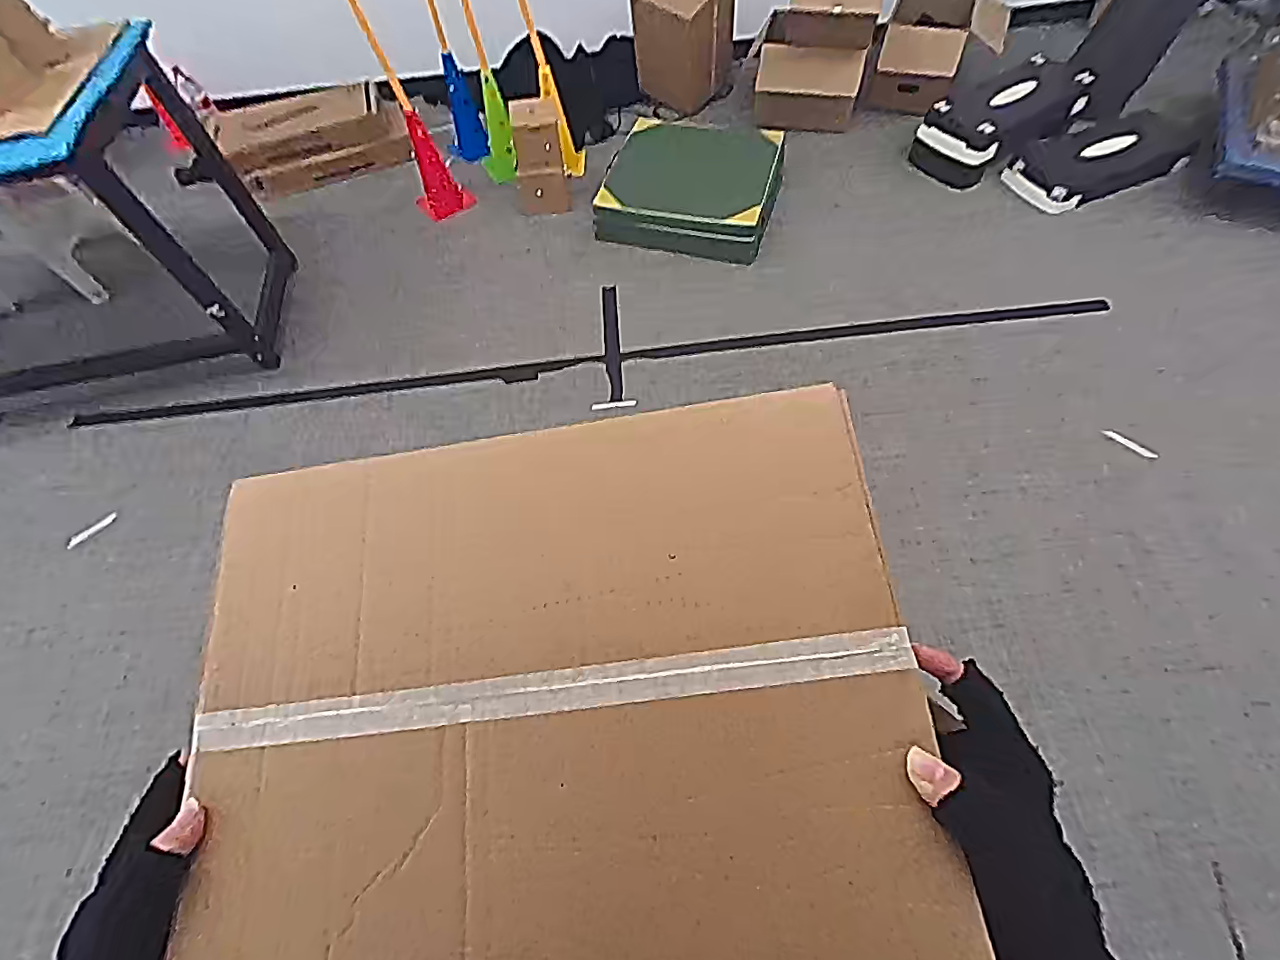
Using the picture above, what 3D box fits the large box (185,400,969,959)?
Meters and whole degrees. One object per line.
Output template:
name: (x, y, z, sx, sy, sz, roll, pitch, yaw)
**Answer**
large box: (-0.040, 0.169, 0.447, 0.408, 0.320, 0.320, -9, 70, 6)
